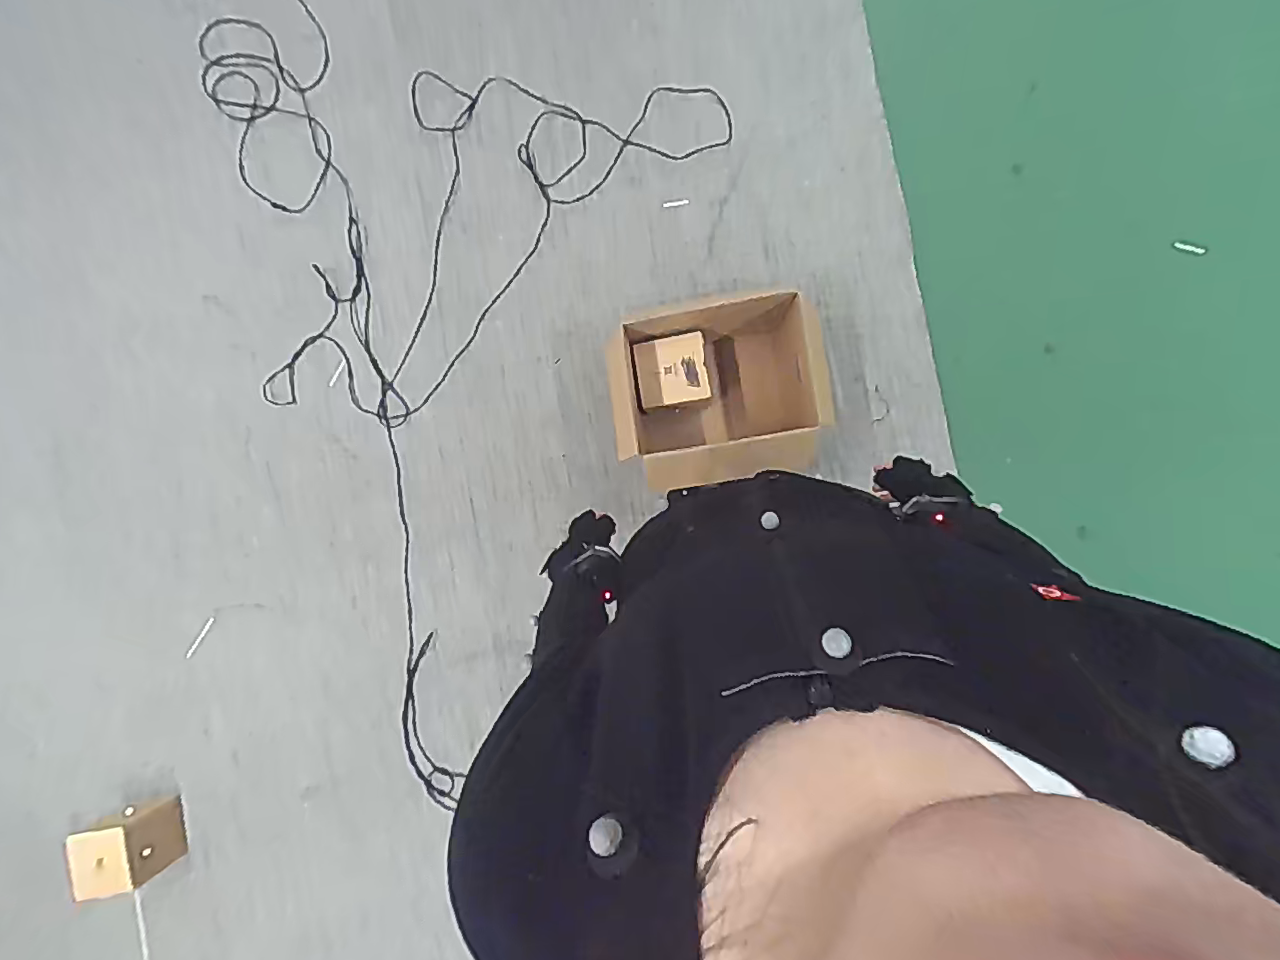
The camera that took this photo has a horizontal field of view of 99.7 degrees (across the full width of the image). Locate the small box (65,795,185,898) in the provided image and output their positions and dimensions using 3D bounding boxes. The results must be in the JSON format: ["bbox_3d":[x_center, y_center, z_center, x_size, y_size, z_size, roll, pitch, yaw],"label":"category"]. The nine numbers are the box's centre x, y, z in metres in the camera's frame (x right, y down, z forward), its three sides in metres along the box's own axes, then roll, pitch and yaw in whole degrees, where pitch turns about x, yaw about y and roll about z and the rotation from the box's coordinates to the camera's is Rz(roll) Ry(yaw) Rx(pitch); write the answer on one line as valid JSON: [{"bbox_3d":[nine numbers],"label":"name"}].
[{"bbox_3d":[-1.422,1.005,1.503,0.168,0.176,0.179,-11,89,3],"label":"small box"}]
